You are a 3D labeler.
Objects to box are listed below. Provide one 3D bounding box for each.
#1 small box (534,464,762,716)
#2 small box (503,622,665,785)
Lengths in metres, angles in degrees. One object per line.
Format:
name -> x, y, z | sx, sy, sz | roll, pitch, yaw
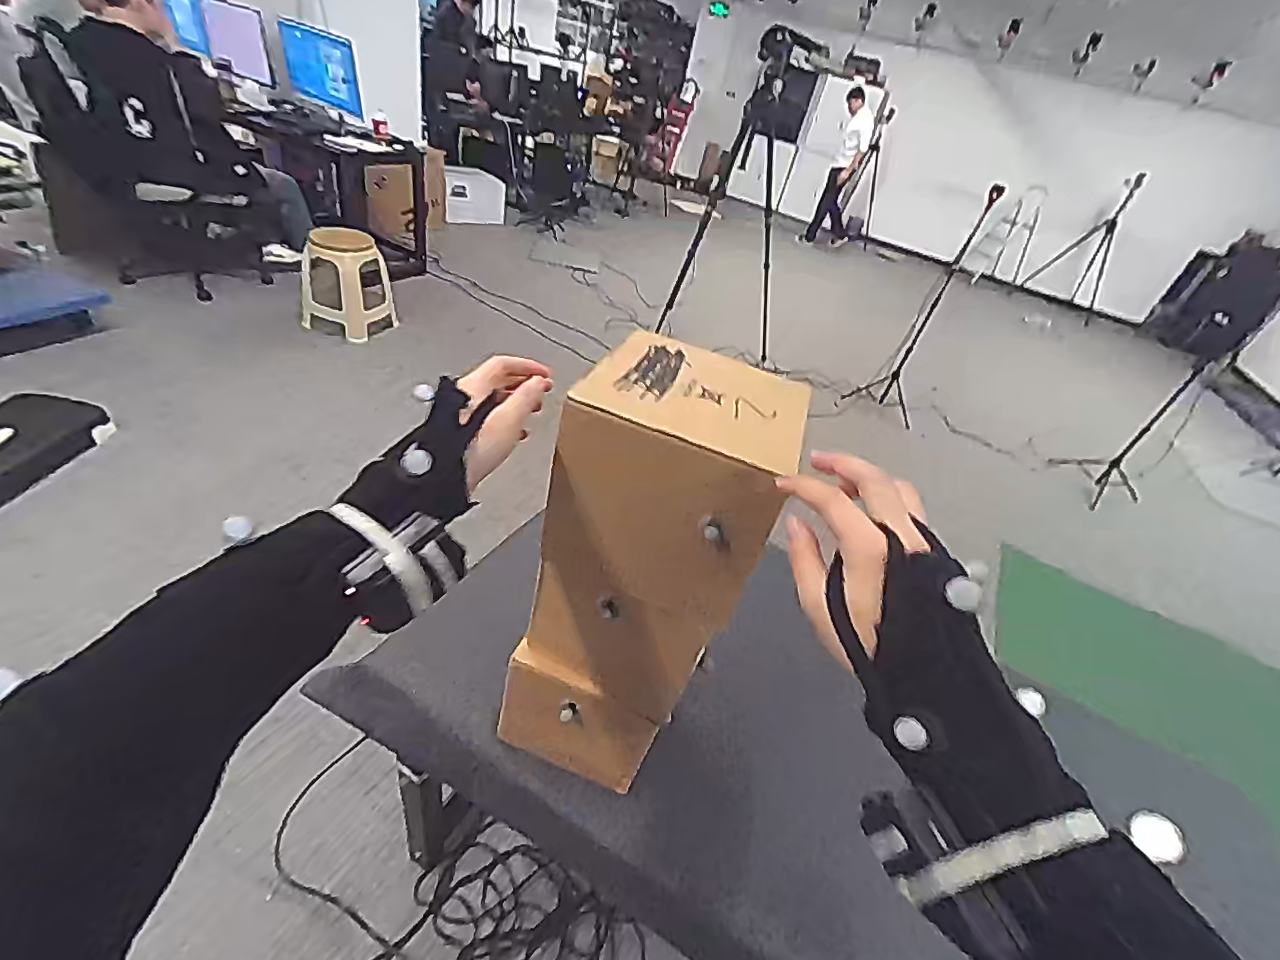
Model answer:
small box -> 0.003, 0.117, 0.586 | 0.179, 0.176, 0.168 | 27, 38, 14
small box -> -0.052, 0.244, 0.674 | 0.179, 0.176, 0.168 | 21, 36, 8
